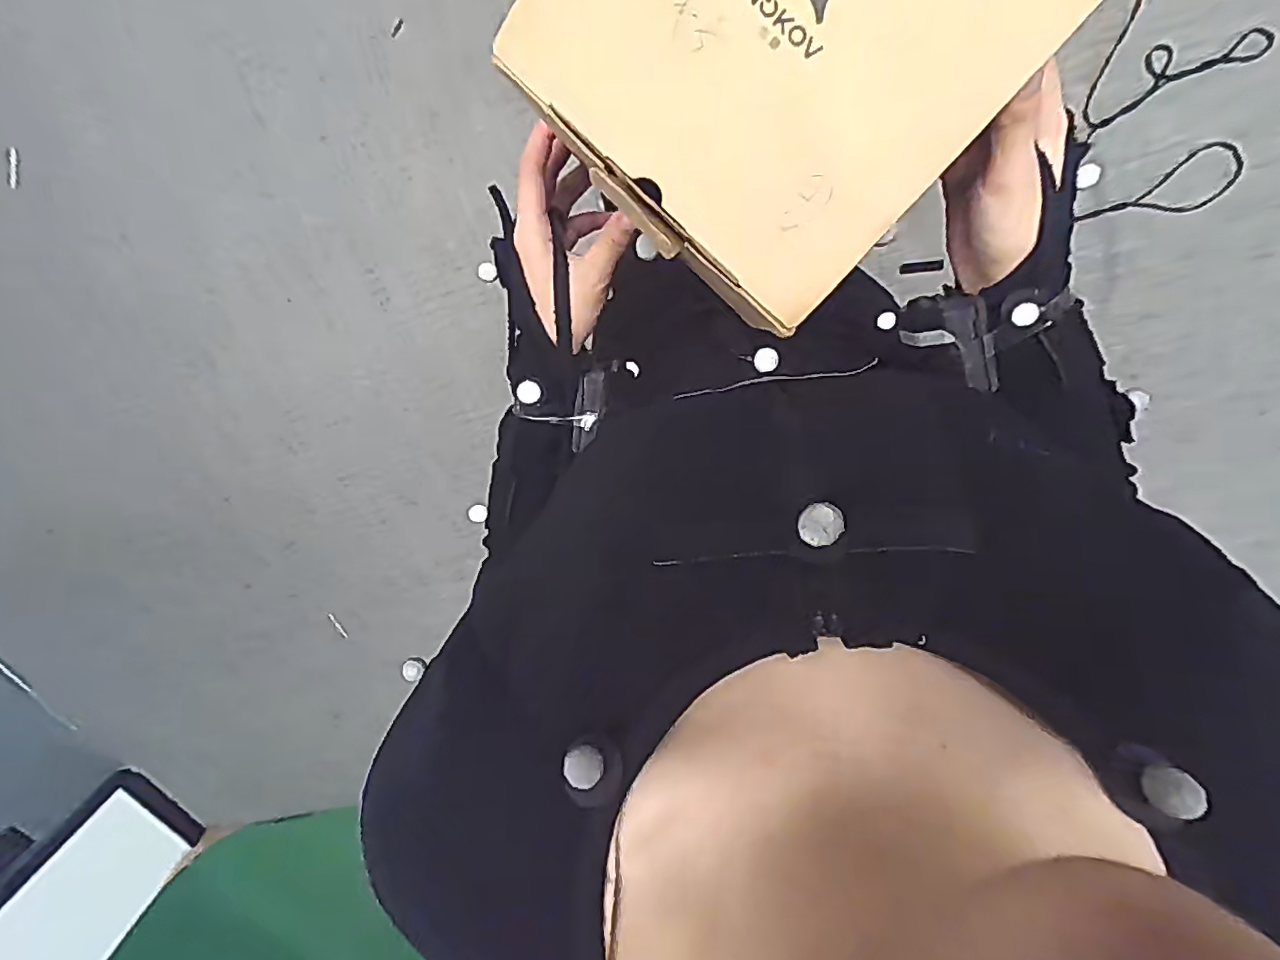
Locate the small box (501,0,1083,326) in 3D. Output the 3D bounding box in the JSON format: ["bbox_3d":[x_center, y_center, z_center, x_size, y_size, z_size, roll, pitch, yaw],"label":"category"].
[{"bbox_3d":[0.066,-0.203,0.285,0.168,0.176,0.179,41,107,-6],"label":"small box"}]
